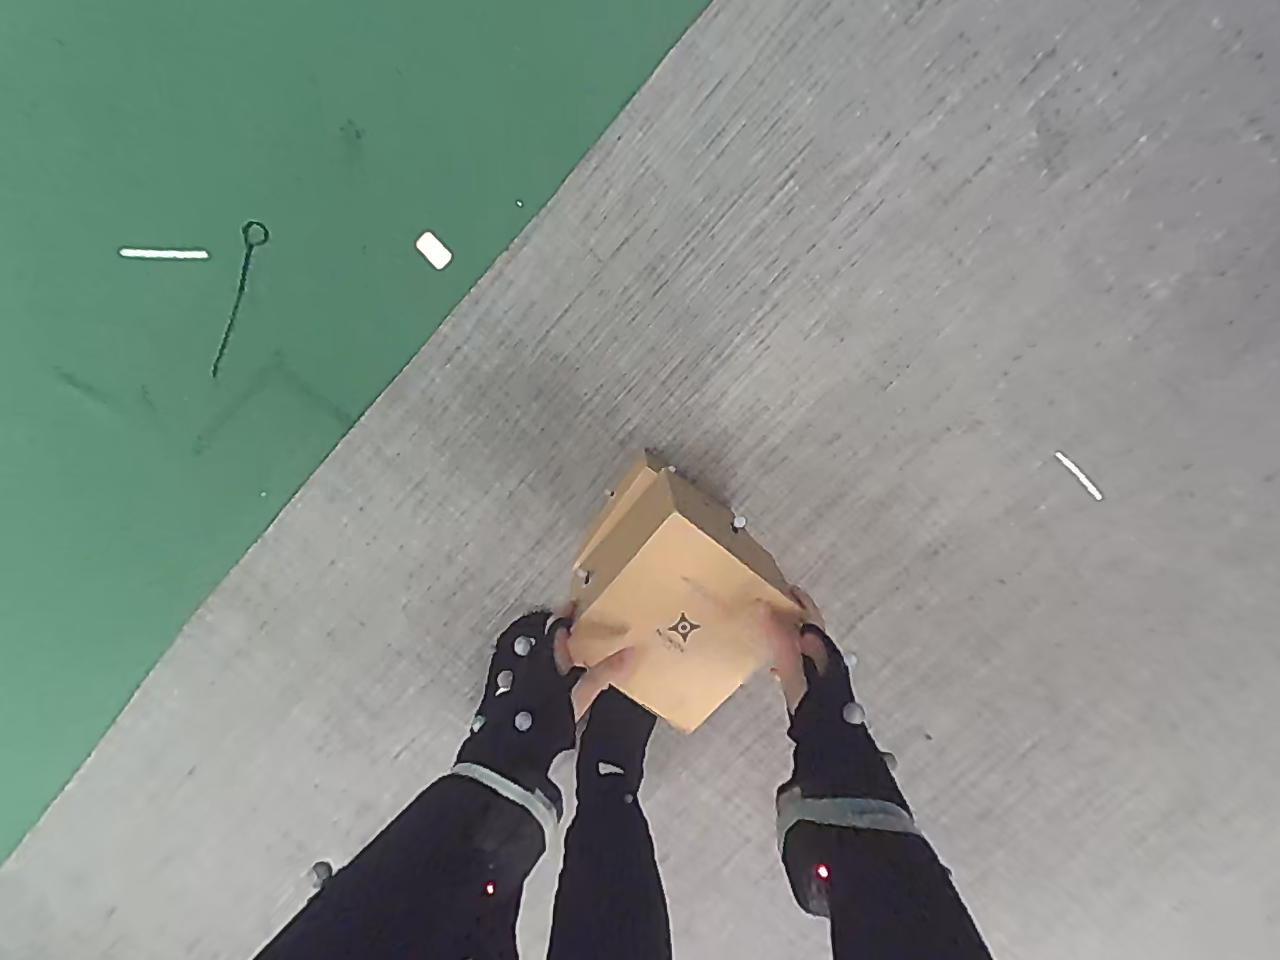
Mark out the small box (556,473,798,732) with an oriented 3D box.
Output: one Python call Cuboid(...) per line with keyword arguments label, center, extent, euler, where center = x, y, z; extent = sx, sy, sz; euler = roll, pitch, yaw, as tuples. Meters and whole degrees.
Cuboid(label="small box", center=(0.035, 0.120, 0.587), extent=(0.168, 0.176, 0.179), euler=(39, 101, -10))
